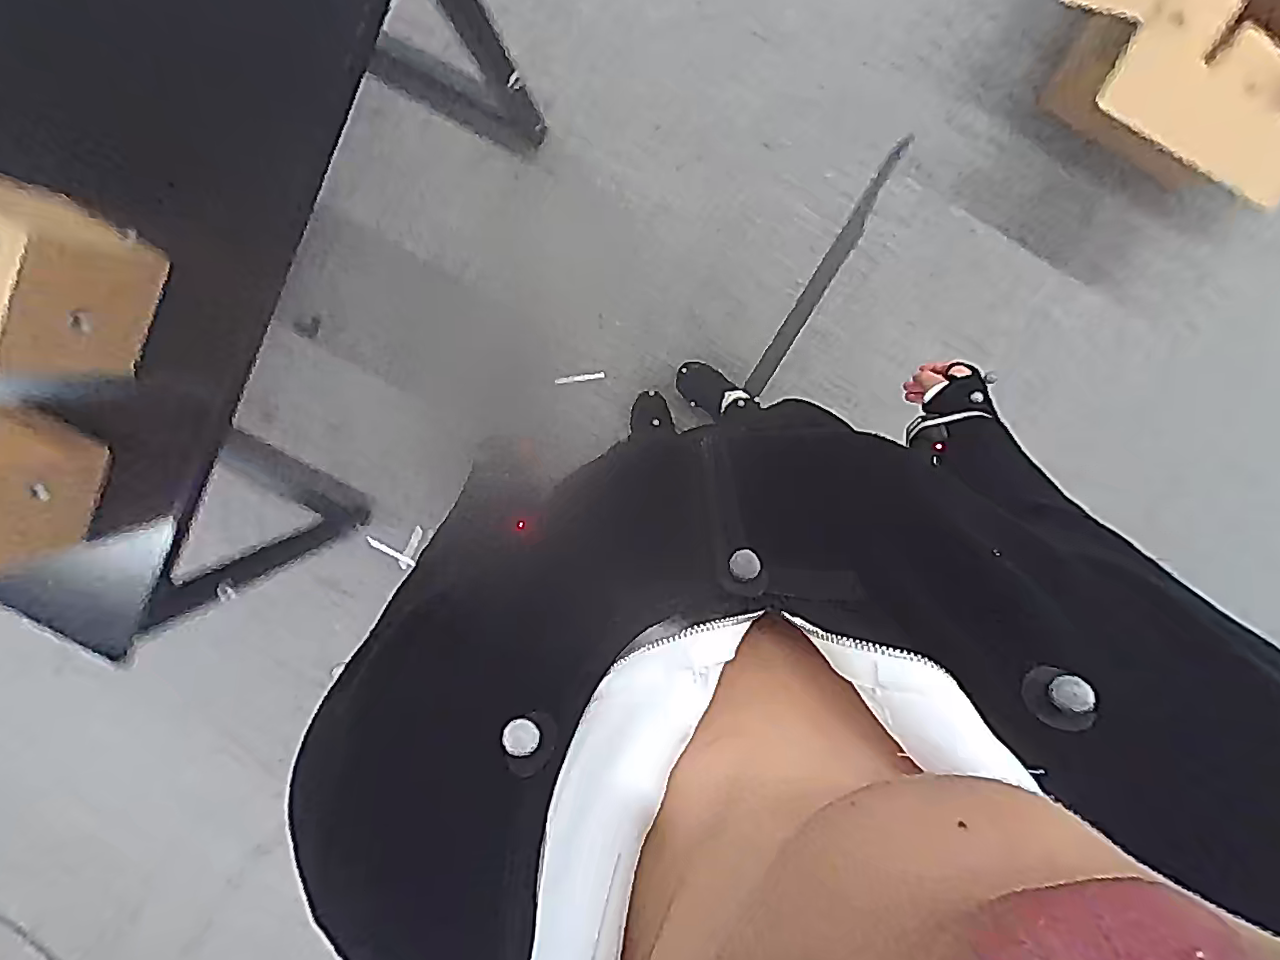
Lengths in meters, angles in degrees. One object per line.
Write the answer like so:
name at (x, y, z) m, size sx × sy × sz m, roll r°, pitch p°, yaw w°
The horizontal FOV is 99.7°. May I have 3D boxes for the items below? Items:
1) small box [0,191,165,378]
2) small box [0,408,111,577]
small box at (-0.756, -0.244, 0.675) m, size 0.168 × 0.176 × 0.179 m, roll 29°, pitch 102°, yaw -2°
small box at (-0.888, 0.013, 0.735) m, size 0.168 × 0.176 × 0.179 m, roll 26°, pitch 102°, yaw -1°
